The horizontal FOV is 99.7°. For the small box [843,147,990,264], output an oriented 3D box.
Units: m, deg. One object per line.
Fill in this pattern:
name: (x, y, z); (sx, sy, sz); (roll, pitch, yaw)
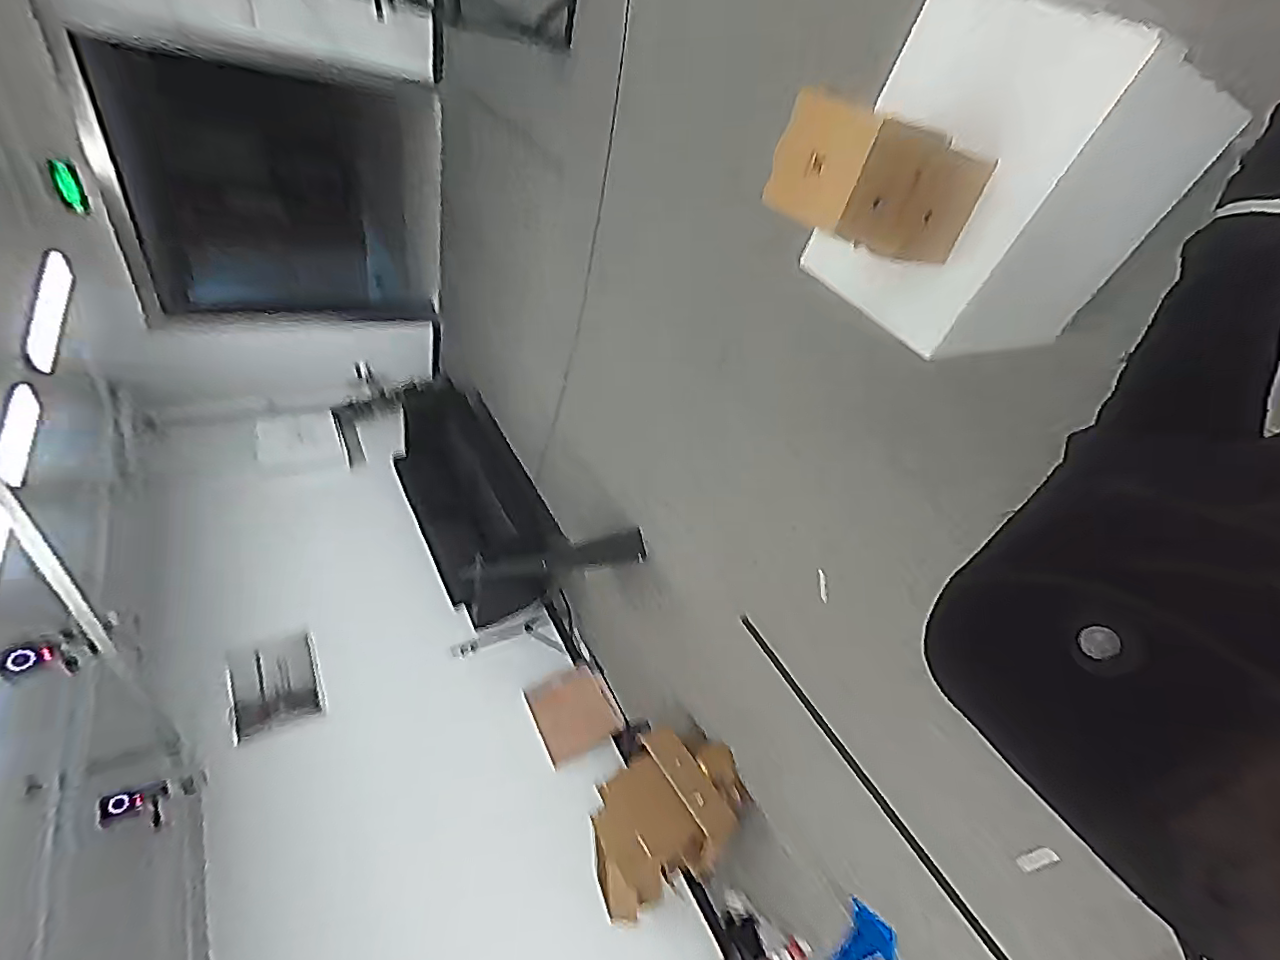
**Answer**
small box: (0.475, -0.498, 0.965); (0.168, 0.176, 0.179); (49, 137, 38)

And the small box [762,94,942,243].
small box: (0.339, -0.496, 0.874); (0.179, 0.176, 0.168); (52, 140, 37)
